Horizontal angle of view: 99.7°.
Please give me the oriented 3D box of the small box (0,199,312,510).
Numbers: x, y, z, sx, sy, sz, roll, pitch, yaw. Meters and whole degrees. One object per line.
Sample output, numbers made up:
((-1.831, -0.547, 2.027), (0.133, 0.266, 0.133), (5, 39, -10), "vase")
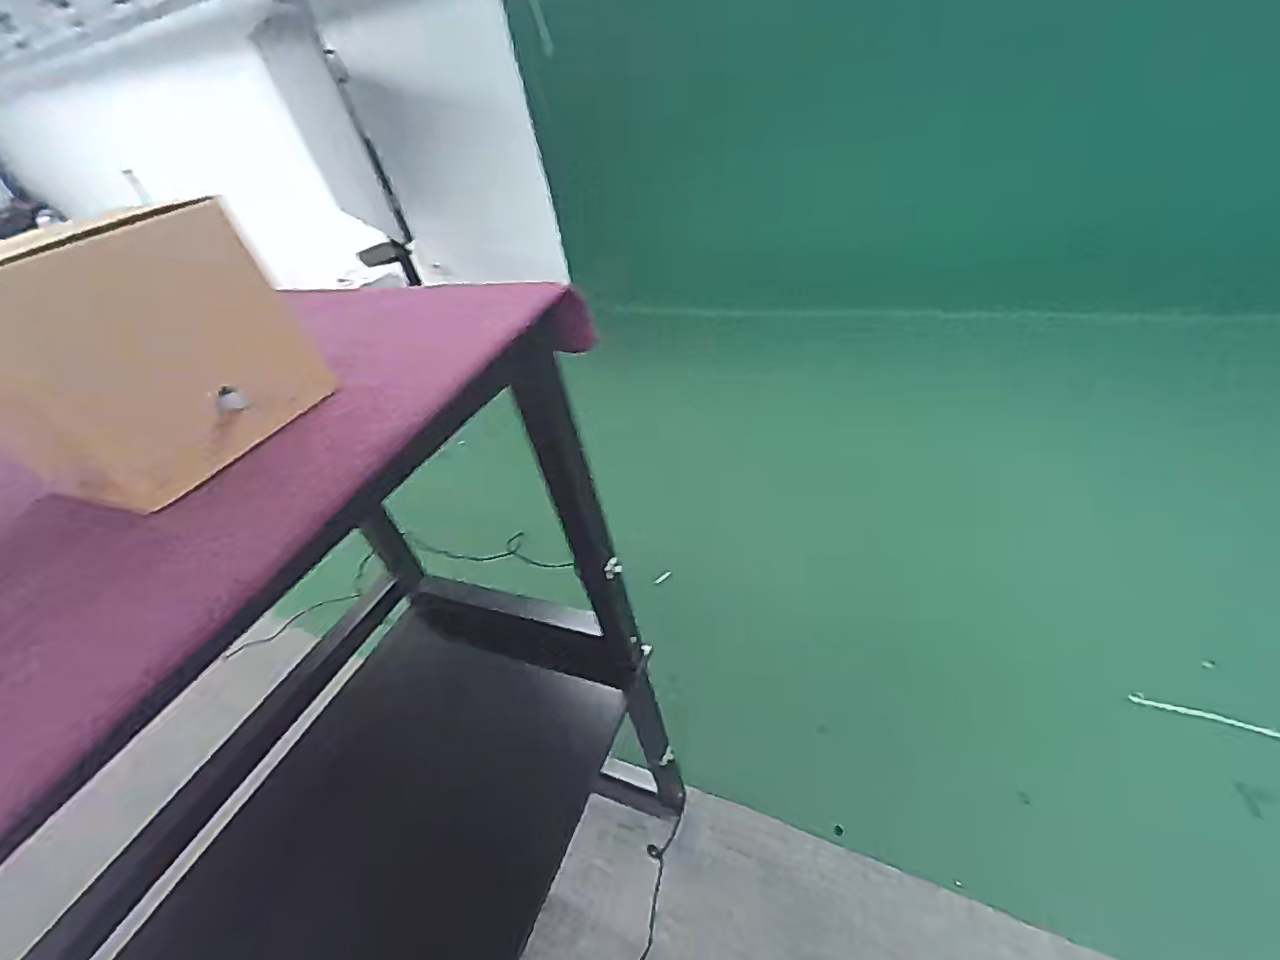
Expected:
((-0.403, -0.102, 0.428), (0.168, 0.176, 0.179), (6, 42, 25), "small box")
